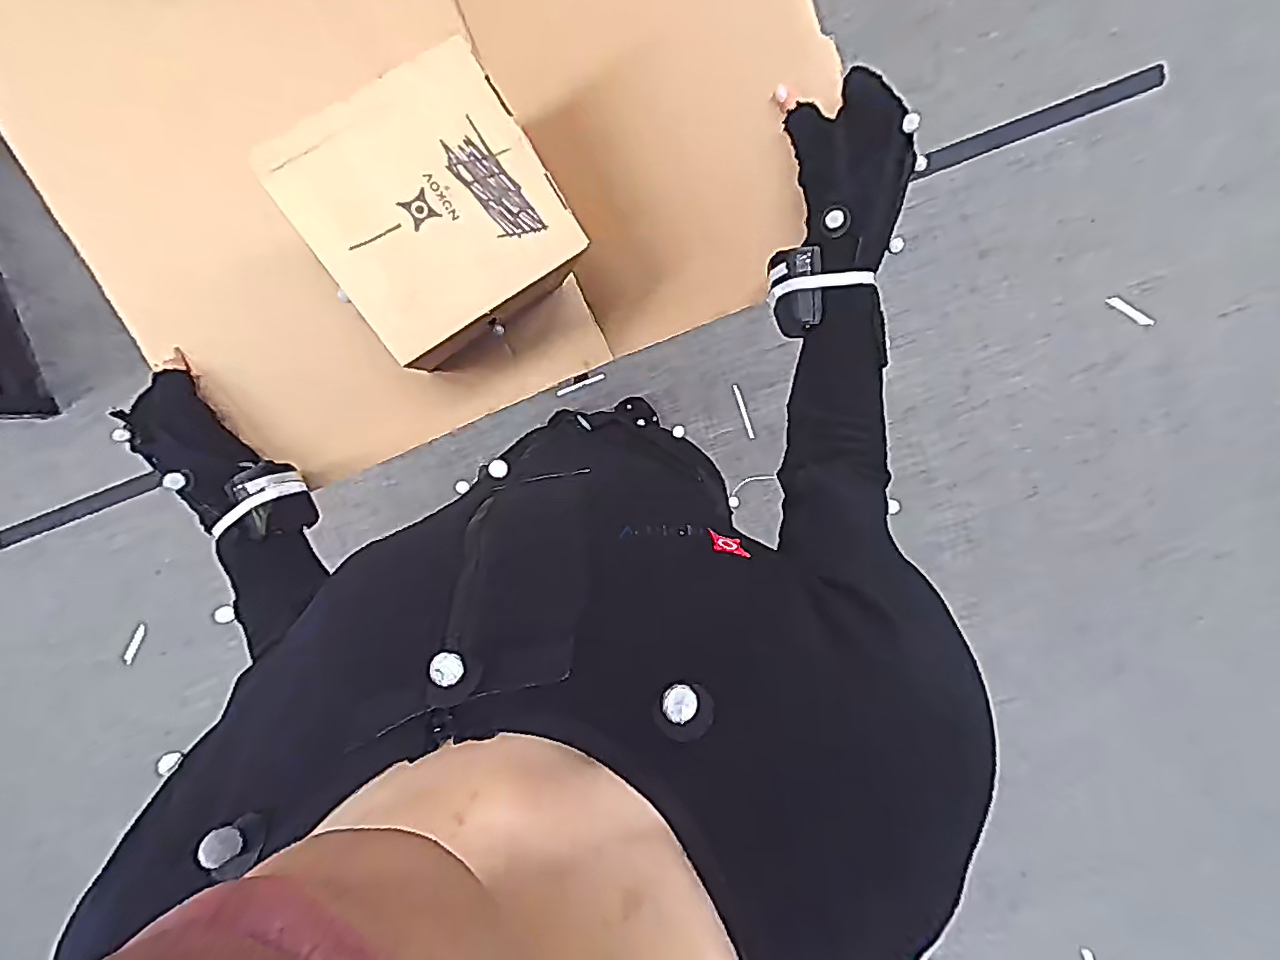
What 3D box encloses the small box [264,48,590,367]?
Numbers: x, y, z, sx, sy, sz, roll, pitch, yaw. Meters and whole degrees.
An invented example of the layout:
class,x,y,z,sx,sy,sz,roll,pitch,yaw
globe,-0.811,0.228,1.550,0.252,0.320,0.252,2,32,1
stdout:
class,x,y,z,sx,sy,sz,roll,pitch,yaw
small box,-0.171,-0.216,0.480,0.179,0.176,0.168,-35,107,-6
